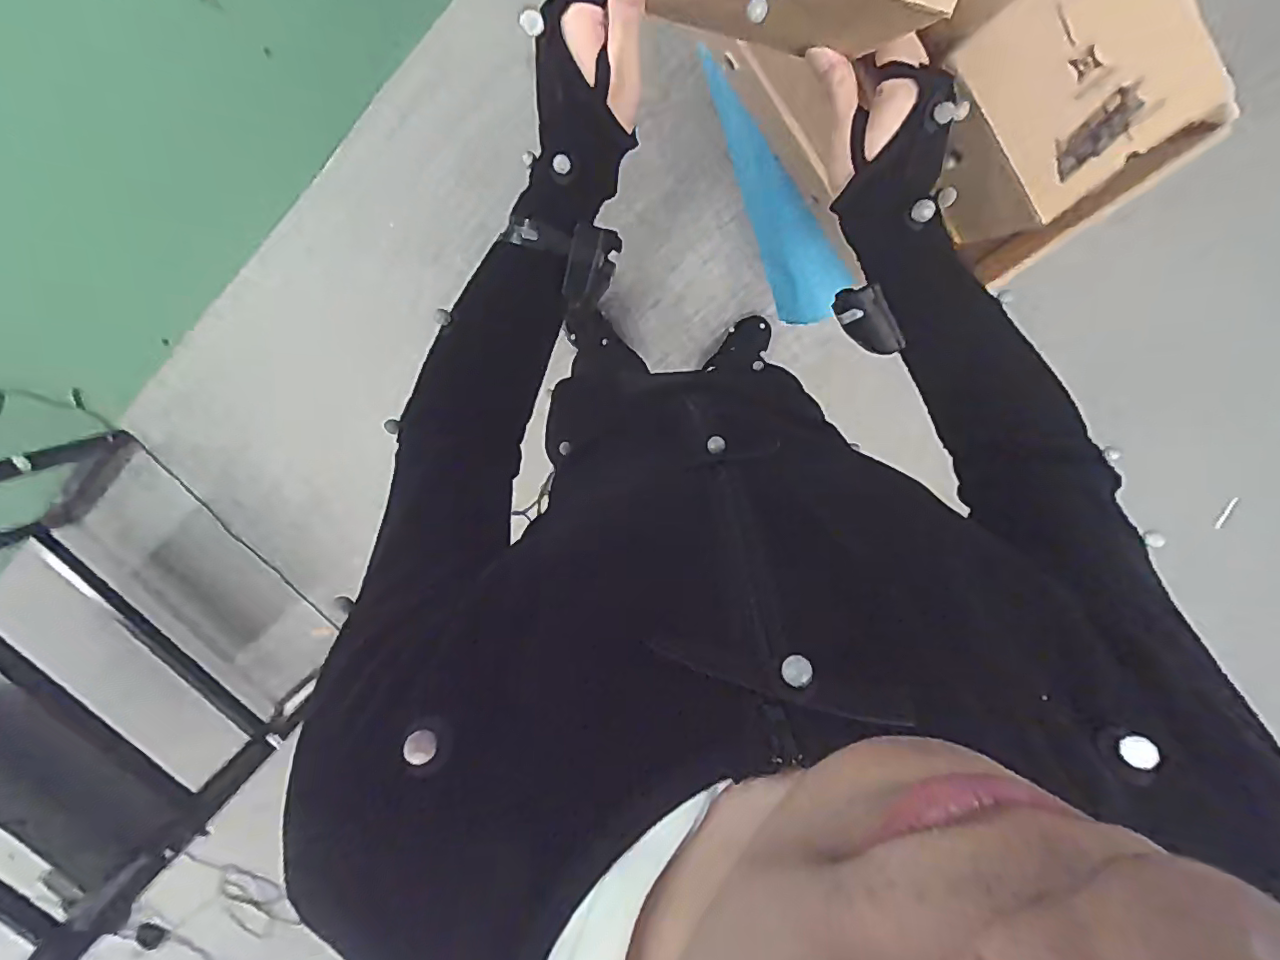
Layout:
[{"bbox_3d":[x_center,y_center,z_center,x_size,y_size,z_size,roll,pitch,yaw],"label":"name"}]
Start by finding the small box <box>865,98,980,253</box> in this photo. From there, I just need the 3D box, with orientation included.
[{"bbox_3d":[0.416,-0.415,0.687,0.168,0.176,0.179,-33,100,16],"label":"small box"}]

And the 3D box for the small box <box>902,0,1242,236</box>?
[{"bbox_3d":[0.397,-0.365,0.532,0.168,0.176,0.179,-35,99,16],"label":"small box"}]

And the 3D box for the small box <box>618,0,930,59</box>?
[{"bbox_3d":[0.077,-0.355,0.289,0.179,0.176,0.168,10,119,-7],"label":"small box"}]
